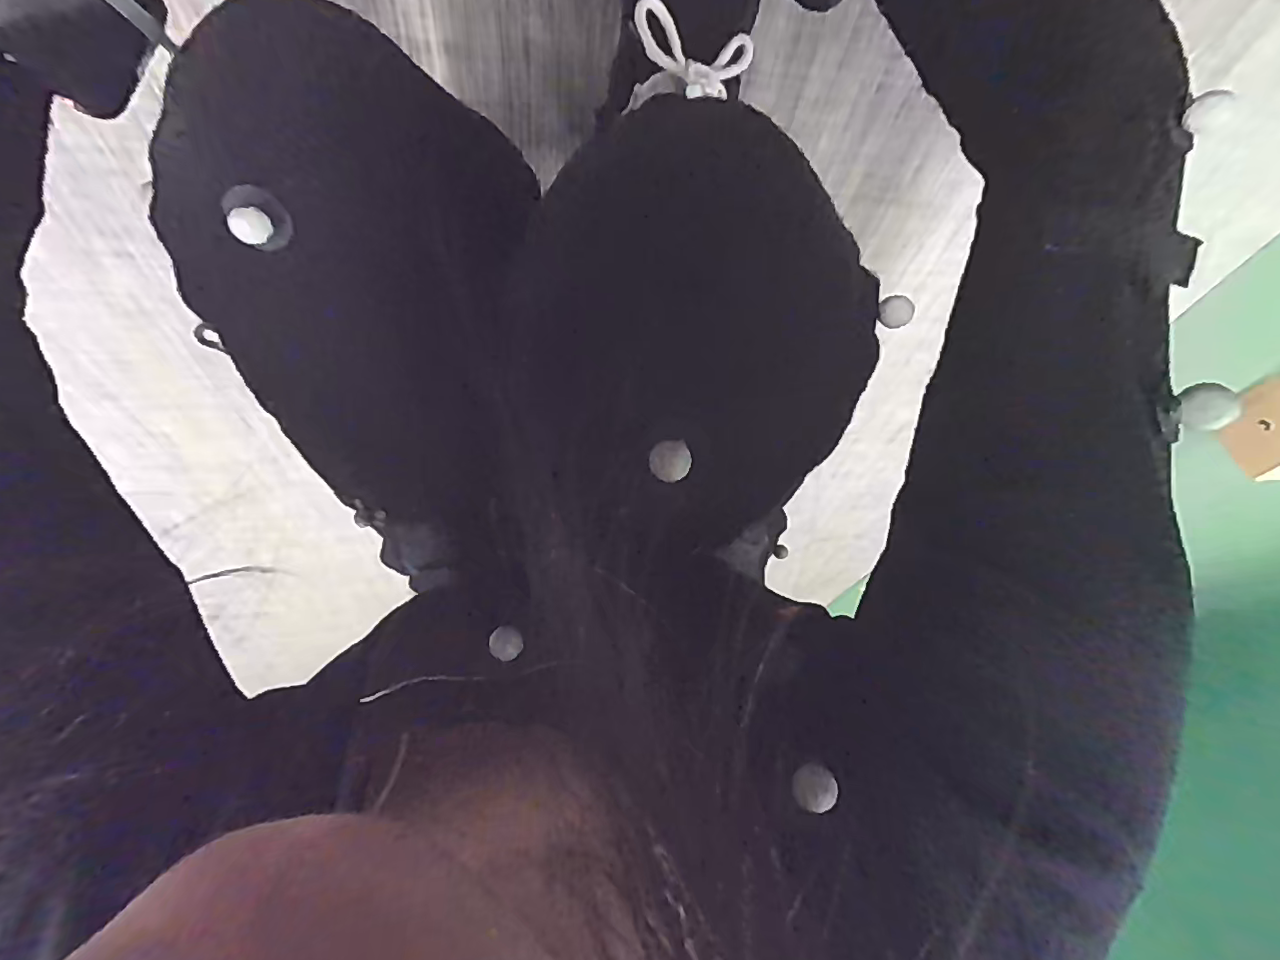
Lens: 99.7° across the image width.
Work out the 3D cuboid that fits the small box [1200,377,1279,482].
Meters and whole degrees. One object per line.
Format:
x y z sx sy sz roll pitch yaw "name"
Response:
1.417 -0.114 1.186 0.179 0.176 0.168 -4 148 -11 "small box"
